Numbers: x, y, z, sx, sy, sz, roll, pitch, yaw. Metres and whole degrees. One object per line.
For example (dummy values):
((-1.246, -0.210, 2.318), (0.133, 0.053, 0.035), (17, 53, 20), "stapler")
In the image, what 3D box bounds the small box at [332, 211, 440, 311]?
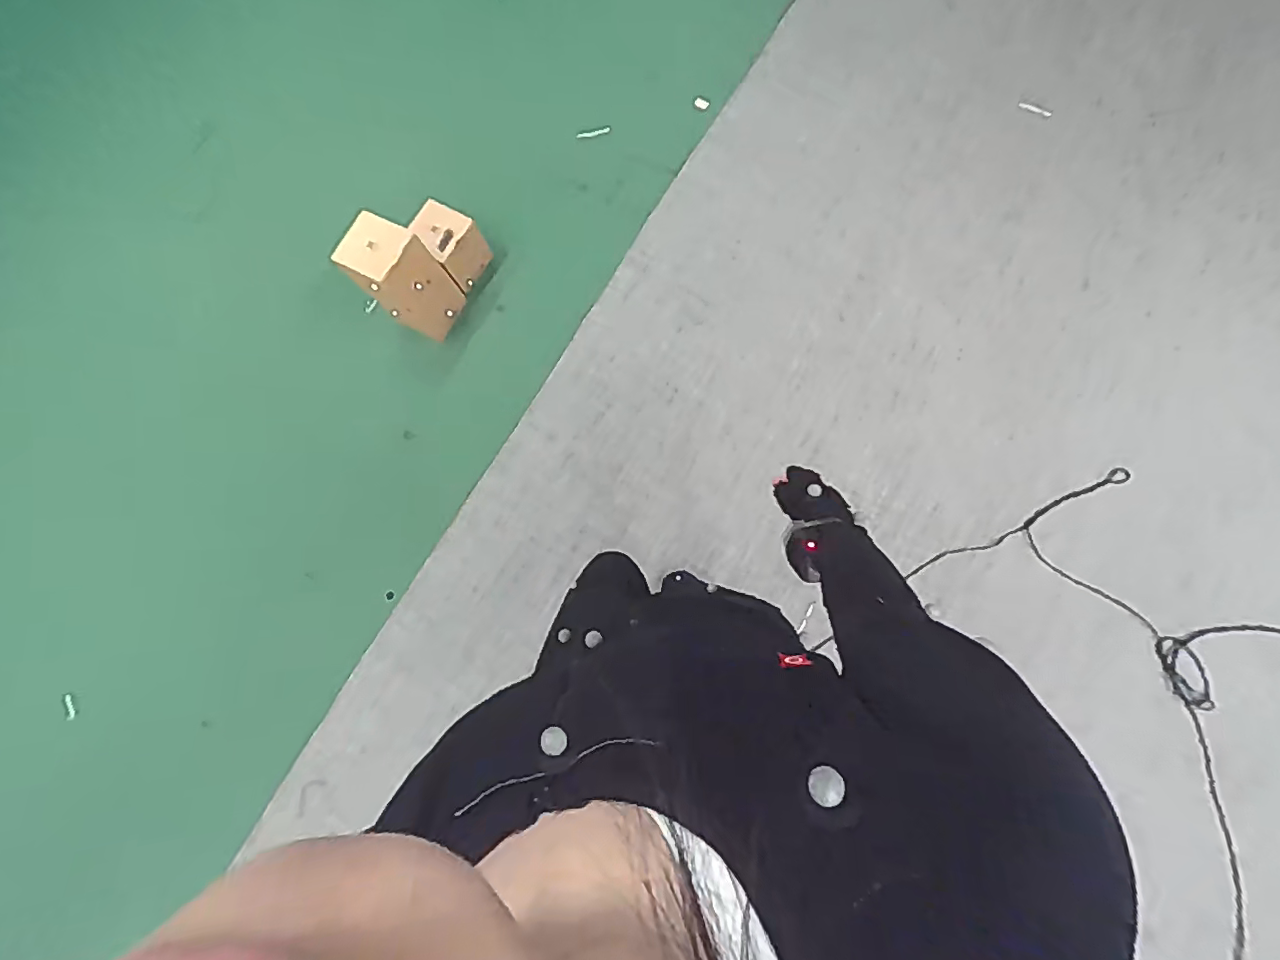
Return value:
((-0.699, -0.602, 1.505), (0.179, 0.176, 0.168), (26, 82, 10), "small box")
